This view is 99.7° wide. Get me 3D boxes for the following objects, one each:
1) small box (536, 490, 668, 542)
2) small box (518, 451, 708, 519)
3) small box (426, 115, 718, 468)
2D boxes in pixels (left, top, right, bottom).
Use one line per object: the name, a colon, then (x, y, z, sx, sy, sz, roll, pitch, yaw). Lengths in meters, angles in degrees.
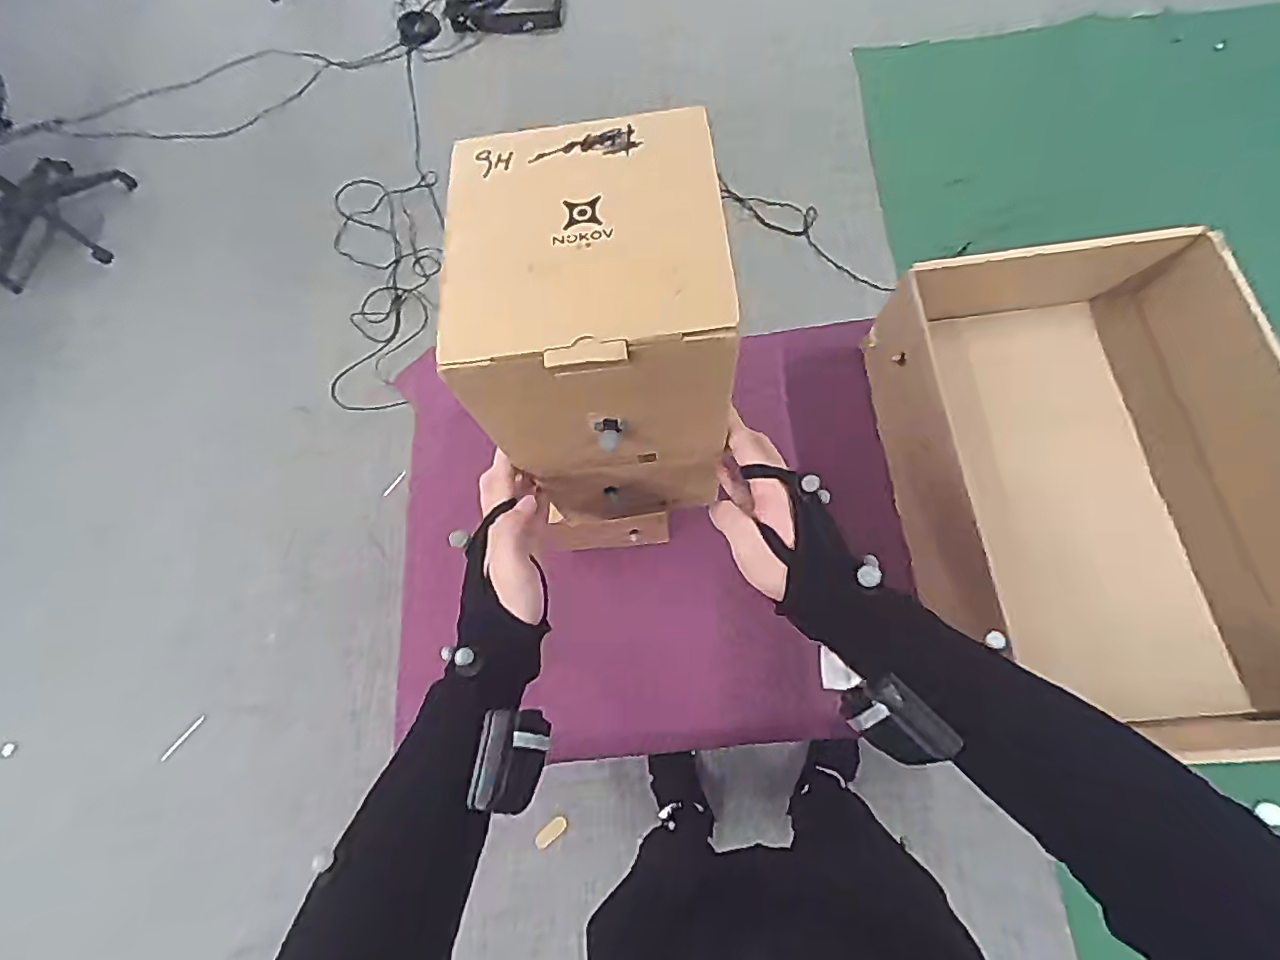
small box: (-0.048, -0.009, 0.781, 0.168, 0.176, 0.179, -4, 71, 3)
small box: (-0.023, -0.067, 0.550, 0.168, 0.176, 0.179, -9, 69, 3)
small box: (-0.034, -0.116, 0.393, 0.168, 0.176, 0.179, -5, 69, 4)
